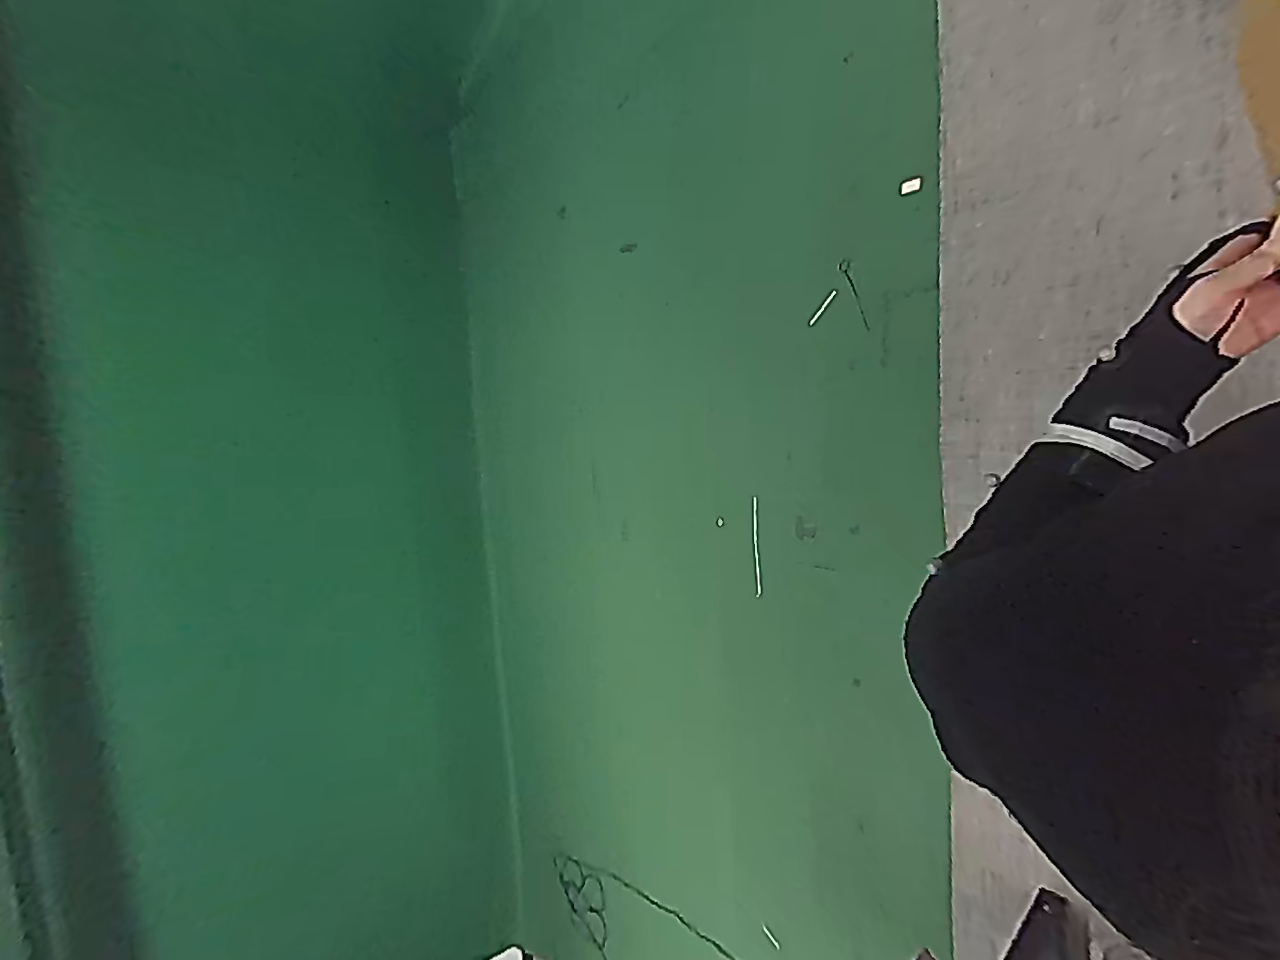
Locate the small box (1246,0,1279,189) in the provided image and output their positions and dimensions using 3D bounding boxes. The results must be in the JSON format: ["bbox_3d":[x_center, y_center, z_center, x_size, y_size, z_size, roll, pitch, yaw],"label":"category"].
[{"bbox_3d":[0.449,-0.243,0.270,0.168,0.176,0.179,-13,87,44],"label":"small box"}]
